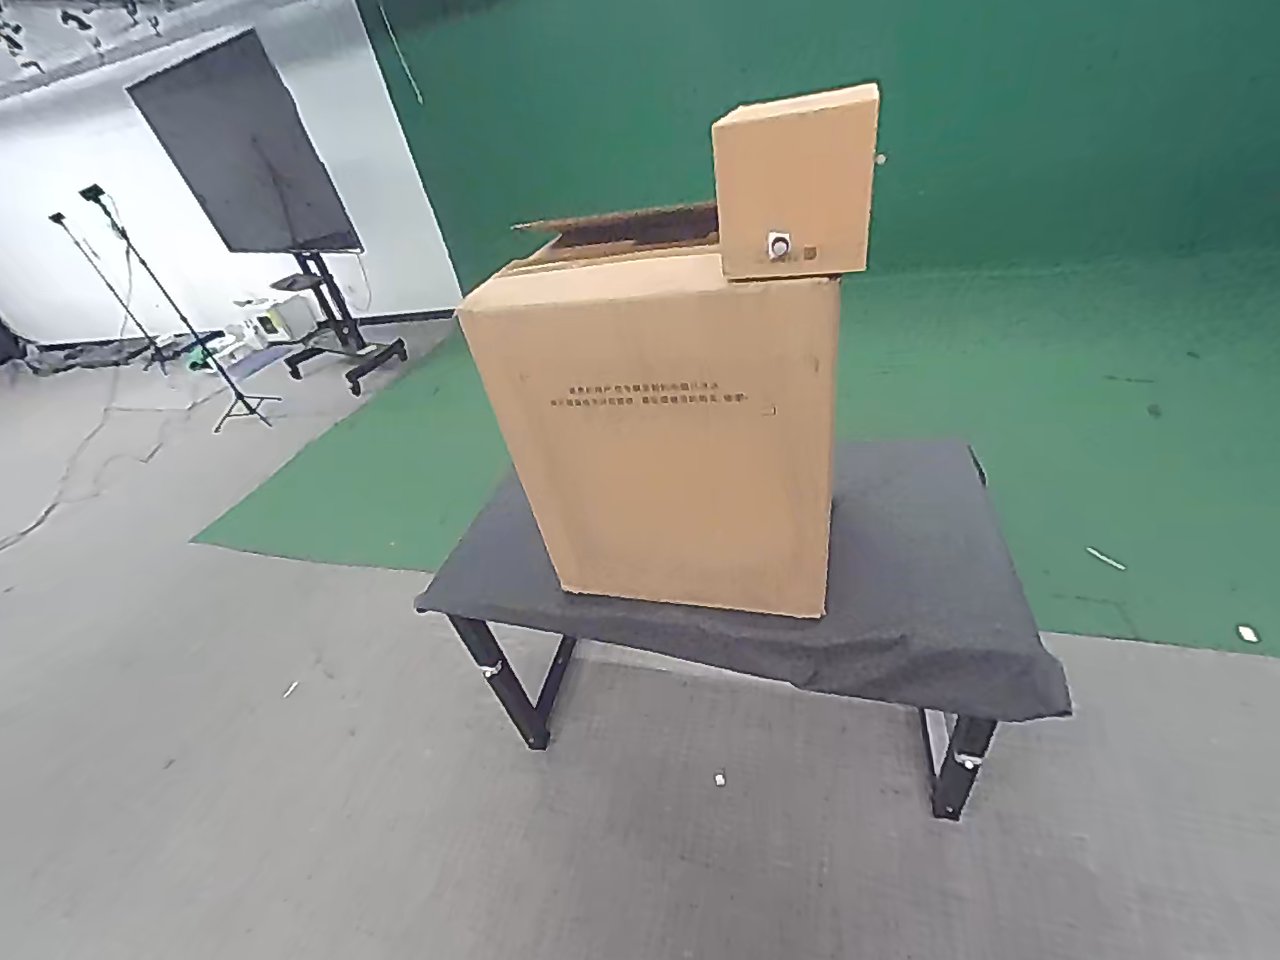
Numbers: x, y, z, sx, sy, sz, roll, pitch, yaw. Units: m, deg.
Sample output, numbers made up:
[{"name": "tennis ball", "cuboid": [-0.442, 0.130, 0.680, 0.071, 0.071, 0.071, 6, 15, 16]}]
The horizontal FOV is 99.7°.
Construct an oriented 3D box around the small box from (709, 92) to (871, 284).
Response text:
[{"name": "small box", "cuboid": [0.186, -0.355, 0.663, 0.168, 0.176, 0.179, 2, 39, 19]}]
